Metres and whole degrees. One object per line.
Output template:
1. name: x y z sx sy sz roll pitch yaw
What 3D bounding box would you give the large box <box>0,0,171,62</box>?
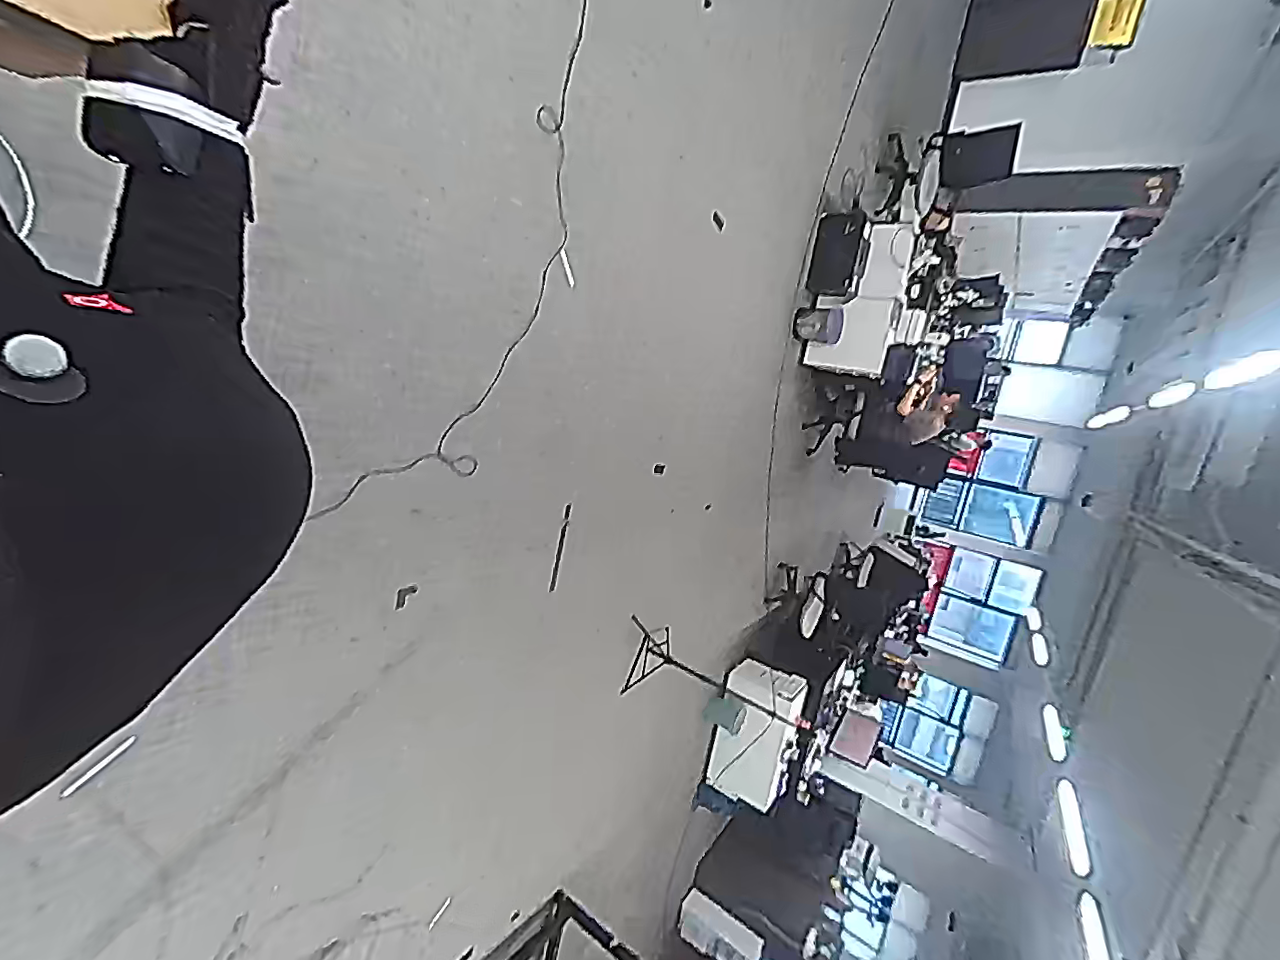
1. large box: -0.507 -0.459 0.229 0.408 0.320 0.320 -8 118 -59
